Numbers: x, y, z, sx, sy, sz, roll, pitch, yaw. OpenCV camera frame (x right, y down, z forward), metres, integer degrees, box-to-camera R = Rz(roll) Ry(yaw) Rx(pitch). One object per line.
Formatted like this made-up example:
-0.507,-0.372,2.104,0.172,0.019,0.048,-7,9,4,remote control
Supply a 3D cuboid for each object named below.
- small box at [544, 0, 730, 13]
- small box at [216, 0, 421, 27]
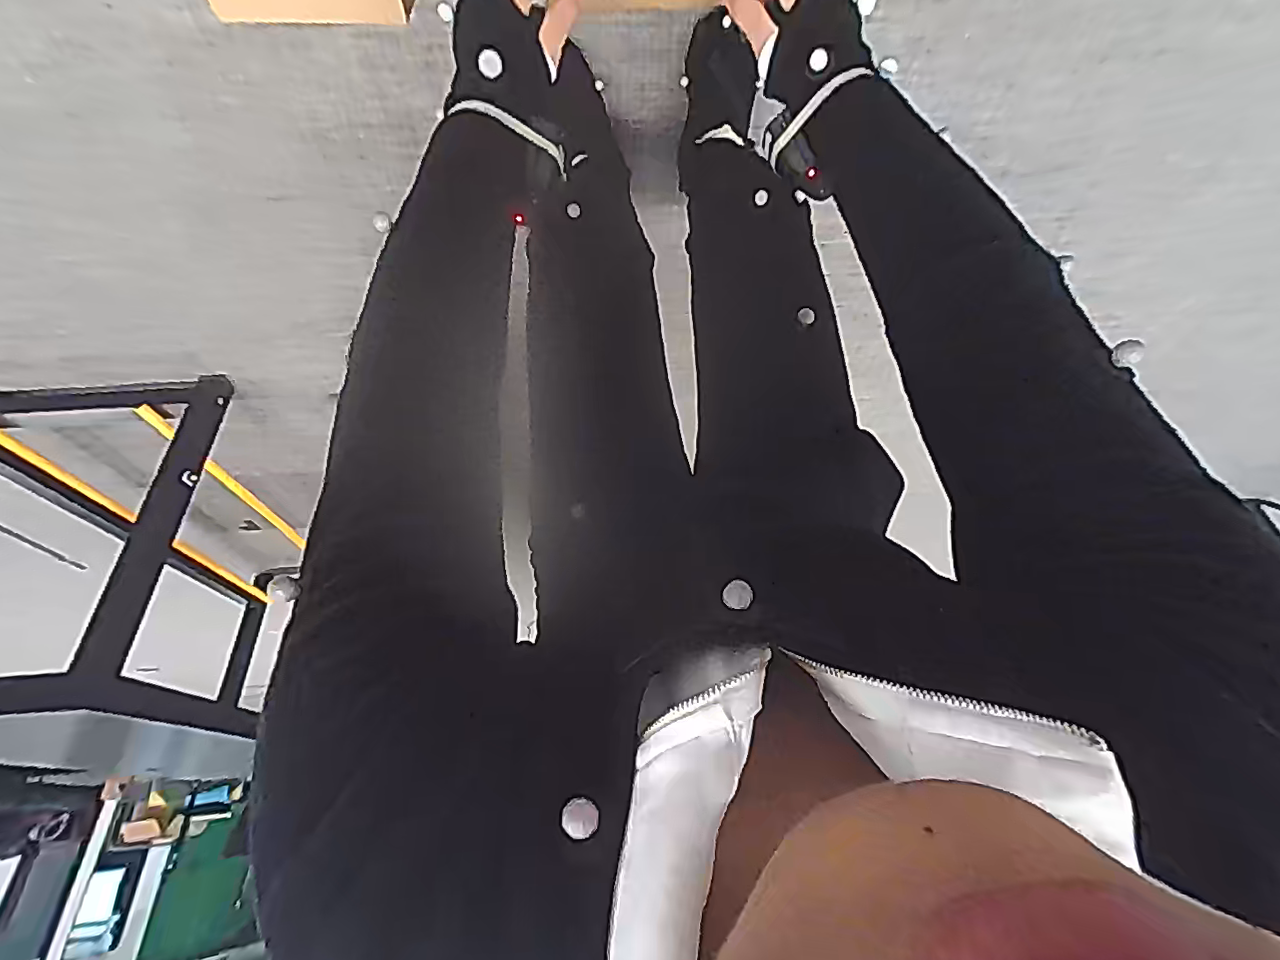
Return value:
-0.008,-0.546,0.474,0.179,0.176,0.168,-5,149,-2,small box
-0.292,-0.527,0.459,0.168,0.176,0.179,-2,150,-4,small box
